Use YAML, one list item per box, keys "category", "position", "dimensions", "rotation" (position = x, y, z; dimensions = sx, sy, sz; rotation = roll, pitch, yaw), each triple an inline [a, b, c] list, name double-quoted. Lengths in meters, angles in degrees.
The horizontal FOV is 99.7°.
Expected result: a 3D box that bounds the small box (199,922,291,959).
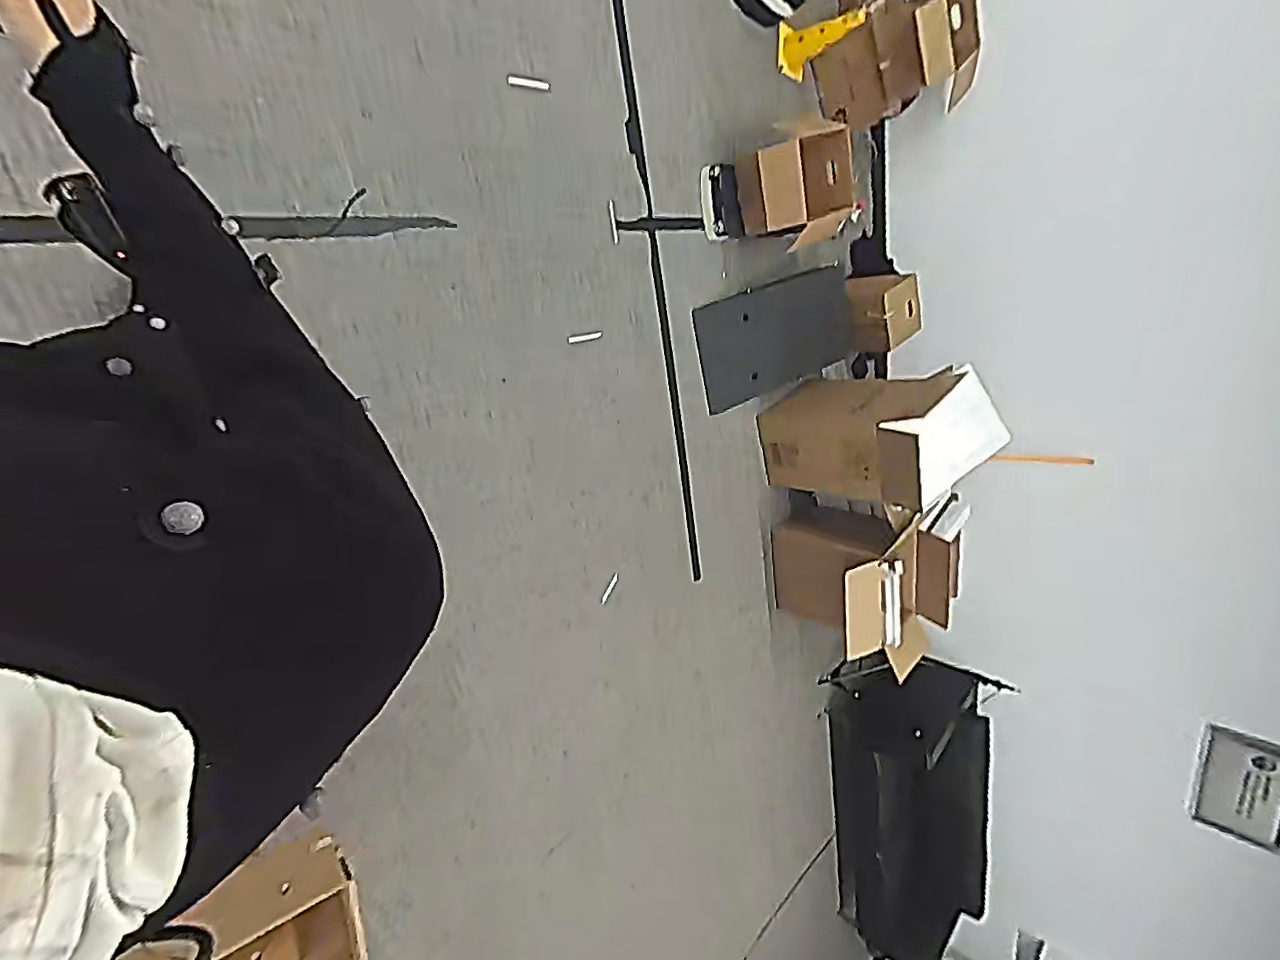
- category: "small box"
  position: [-0.774, 1.025, 1.057]
  dimensions: [0.168, 0.176, 0.179]
  rotation: [-14, 108, -40]
